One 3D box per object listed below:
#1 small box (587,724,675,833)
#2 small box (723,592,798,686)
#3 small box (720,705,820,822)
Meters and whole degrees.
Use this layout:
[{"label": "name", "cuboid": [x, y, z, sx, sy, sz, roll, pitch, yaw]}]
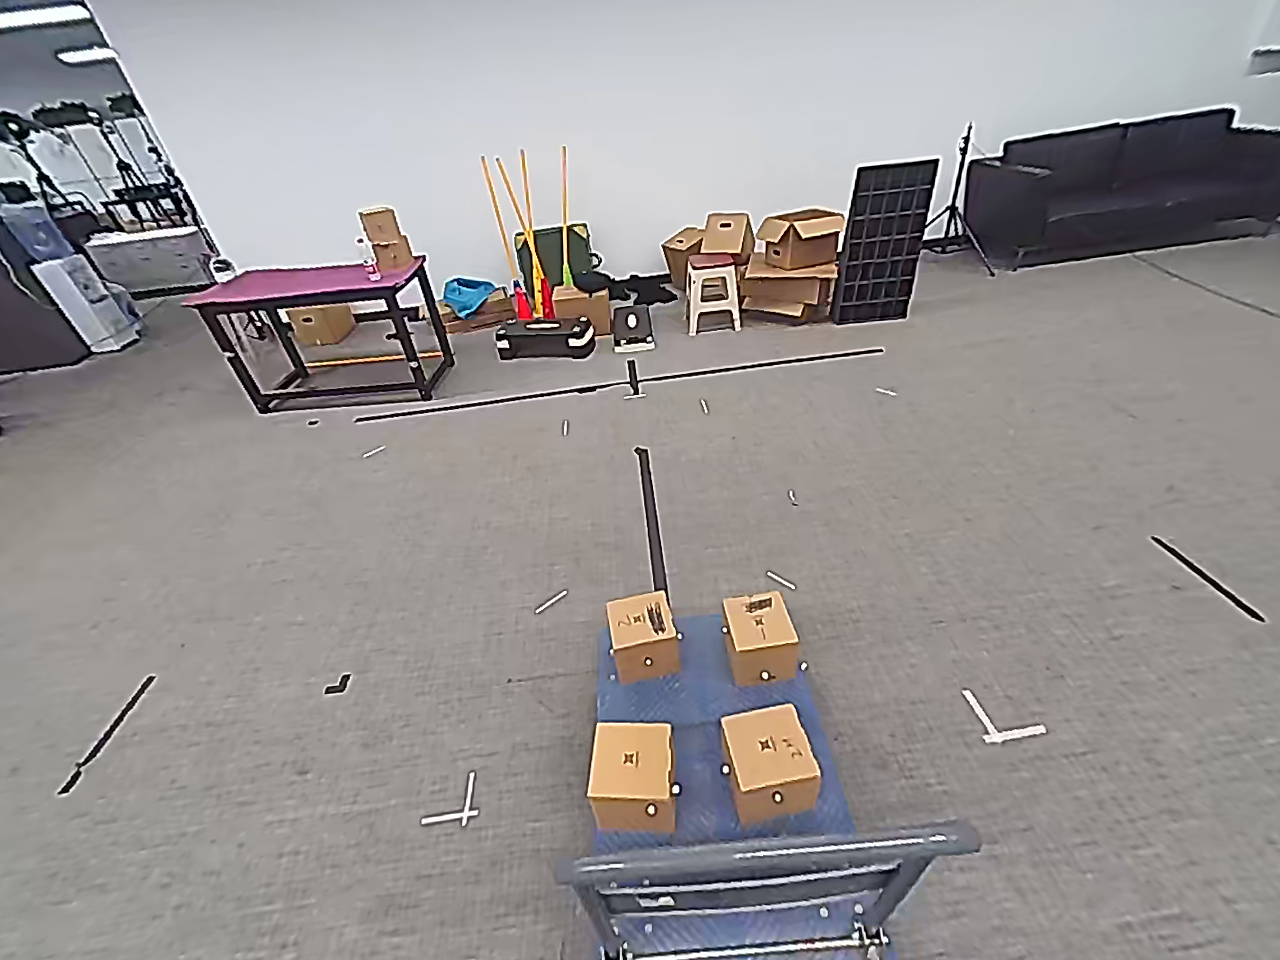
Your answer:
[{"label": "small box", "cuboid": [-0.013, 0.680, 1.233, 0.179, 0.176, 0.168, -2, 36, 5]}, {"label": "small box", "cuboid": [0.325, 0.439, 1.494, 0.168, 0.176, 0.179, -9, 38, -1]}, {"label": "small box", "cuboid": [0.289, 0.645, 1.226, 0.179, 0.176, 0.168, -10, 37, -3]}]
